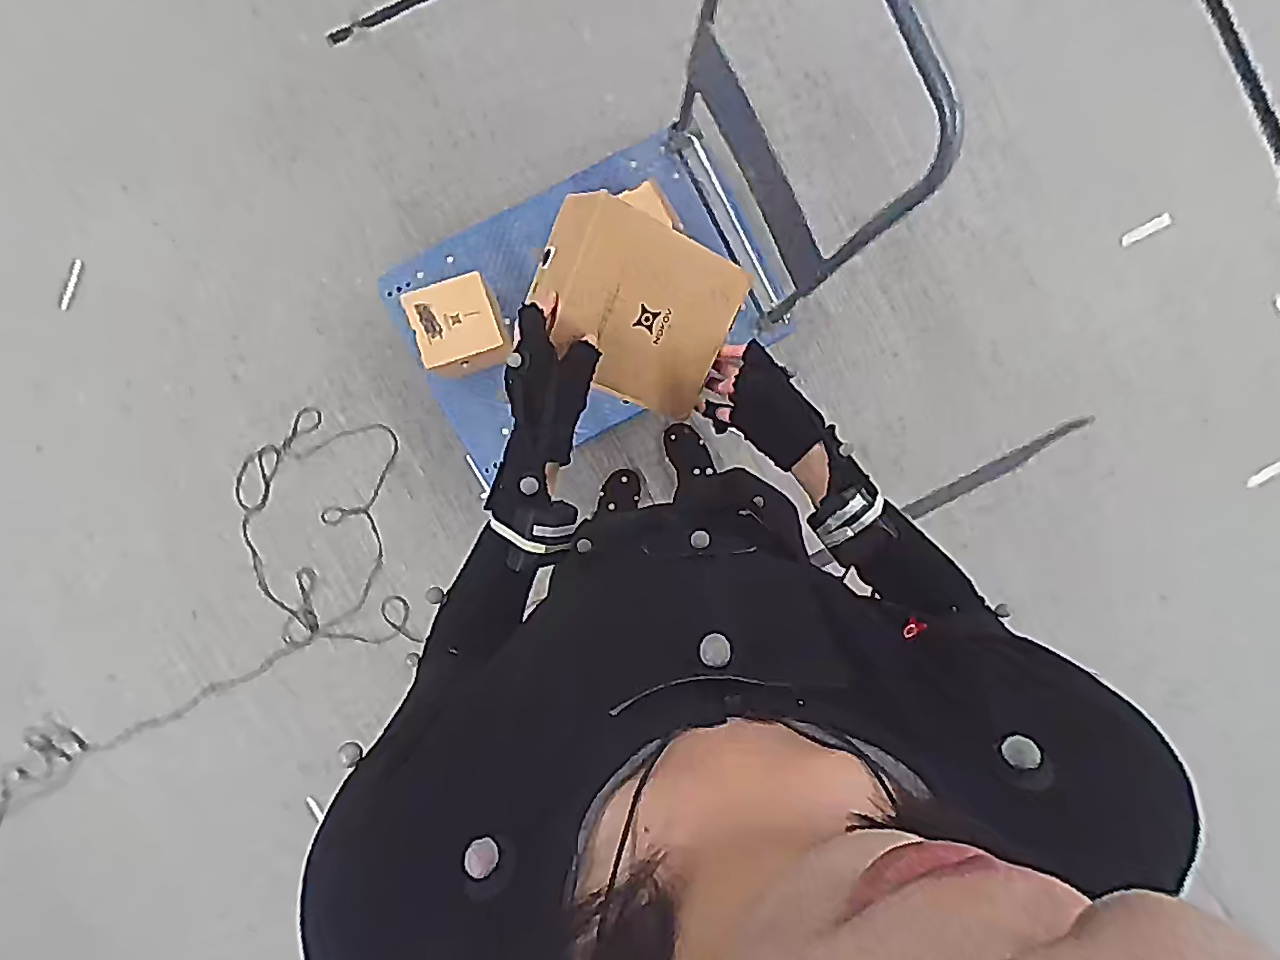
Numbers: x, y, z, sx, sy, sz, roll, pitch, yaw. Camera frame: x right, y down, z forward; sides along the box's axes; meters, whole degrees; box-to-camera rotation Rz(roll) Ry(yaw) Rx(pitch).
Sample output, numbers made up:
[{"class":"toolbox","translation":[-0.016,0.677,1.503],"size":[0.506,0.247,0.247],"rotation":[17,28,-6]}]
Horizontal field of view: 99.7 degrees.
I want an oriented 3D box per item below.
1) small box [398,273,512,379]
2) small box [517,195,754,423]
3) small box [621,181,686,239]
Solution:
[{"class":"small box","translation":[-0.408,-0.338,1.223],"size":[0.179,0.176,0.168],"rotation":[-18,94,-3]},{"class":"small box","translation":[-0.017,-0.189,0.591],"size":[0.179,0.176,0.168],"rotation":[19,107,-27]},{"class":"small box","translation":[-0.005,-0.527,1.233],"size":[0.168,0.176,0.179],"rotation":[-32,93,0]}]
